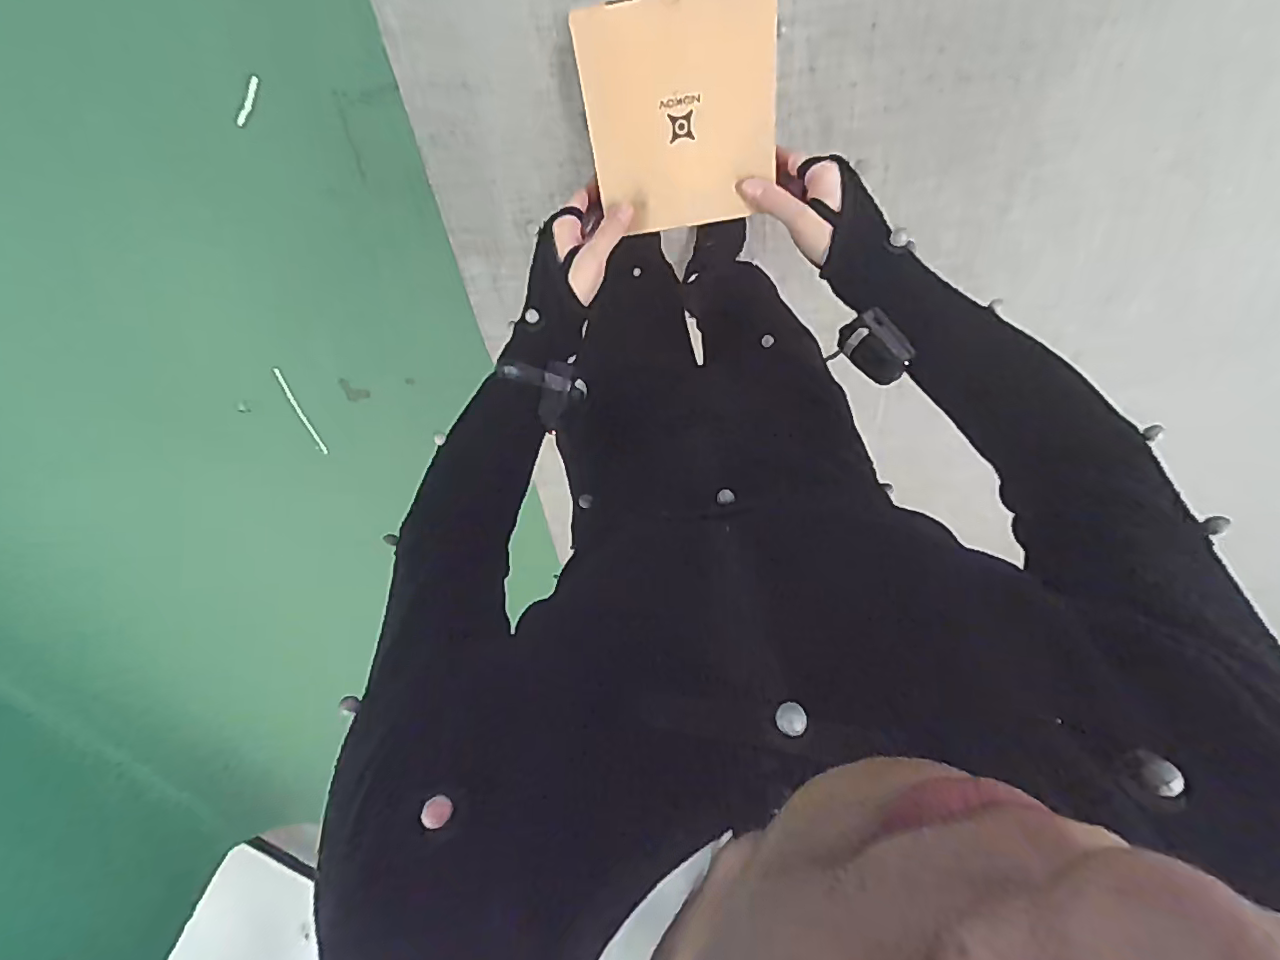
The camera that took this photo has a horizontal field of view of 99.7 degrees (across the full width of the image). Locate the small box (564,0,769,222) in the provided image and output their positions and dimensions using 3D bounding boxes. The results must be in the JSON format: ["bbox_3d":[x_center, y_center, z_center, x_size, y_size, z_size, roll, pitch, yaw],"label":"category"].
[{"bbox_3d":[0.034,-0.380,0.536,0.168,0.176,0.179,-6,128,7],"label":"small box"}]
